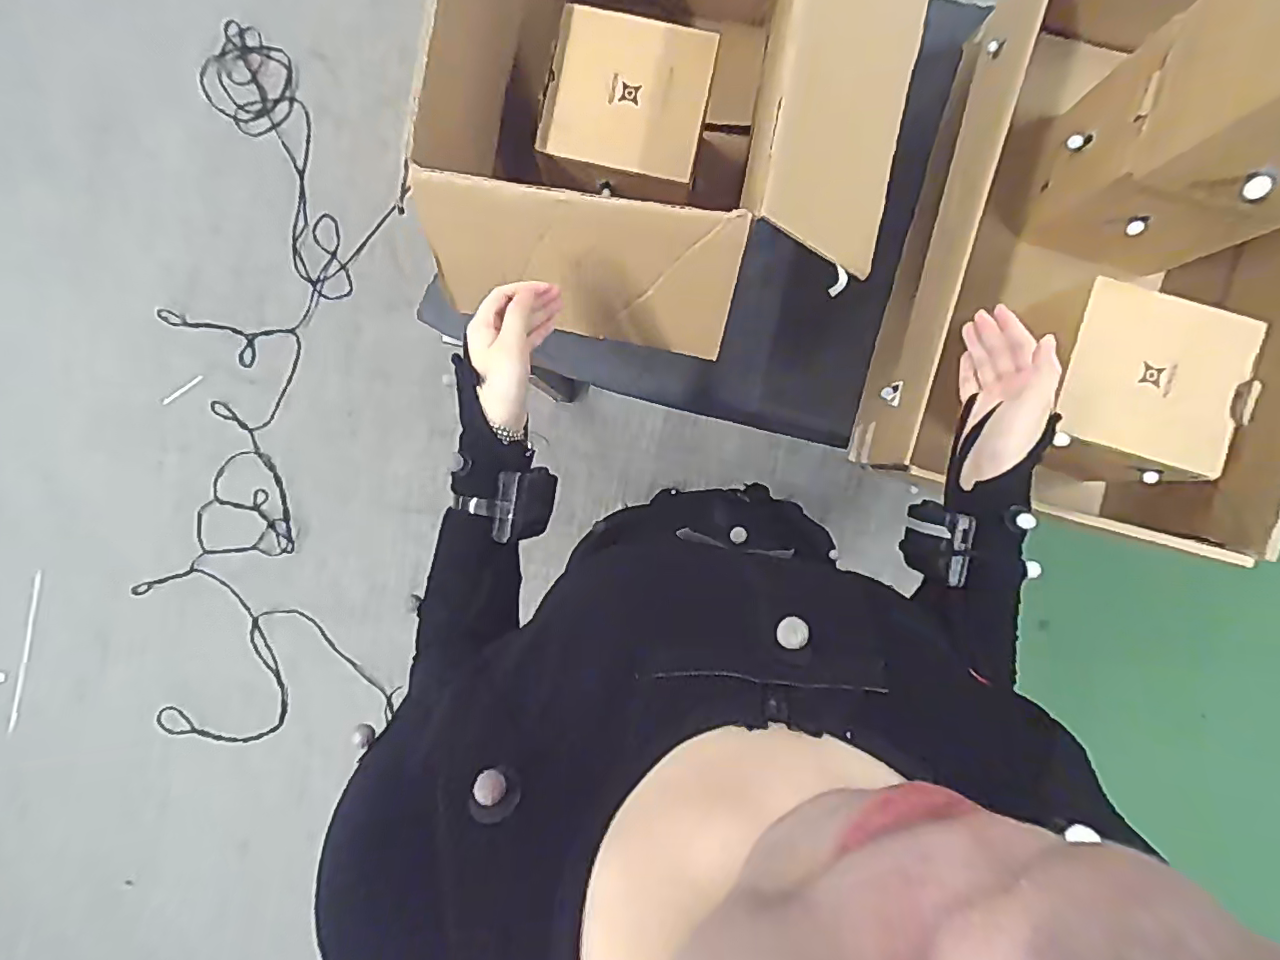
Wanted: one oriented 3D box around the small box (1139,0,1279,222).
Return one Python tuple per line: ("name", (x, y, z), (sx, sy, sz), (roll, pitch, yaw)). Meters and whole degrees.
("small box", (0.583, -0.352, 0.450), (0.168, 0.176, 0.179), (16, 94, 2))
